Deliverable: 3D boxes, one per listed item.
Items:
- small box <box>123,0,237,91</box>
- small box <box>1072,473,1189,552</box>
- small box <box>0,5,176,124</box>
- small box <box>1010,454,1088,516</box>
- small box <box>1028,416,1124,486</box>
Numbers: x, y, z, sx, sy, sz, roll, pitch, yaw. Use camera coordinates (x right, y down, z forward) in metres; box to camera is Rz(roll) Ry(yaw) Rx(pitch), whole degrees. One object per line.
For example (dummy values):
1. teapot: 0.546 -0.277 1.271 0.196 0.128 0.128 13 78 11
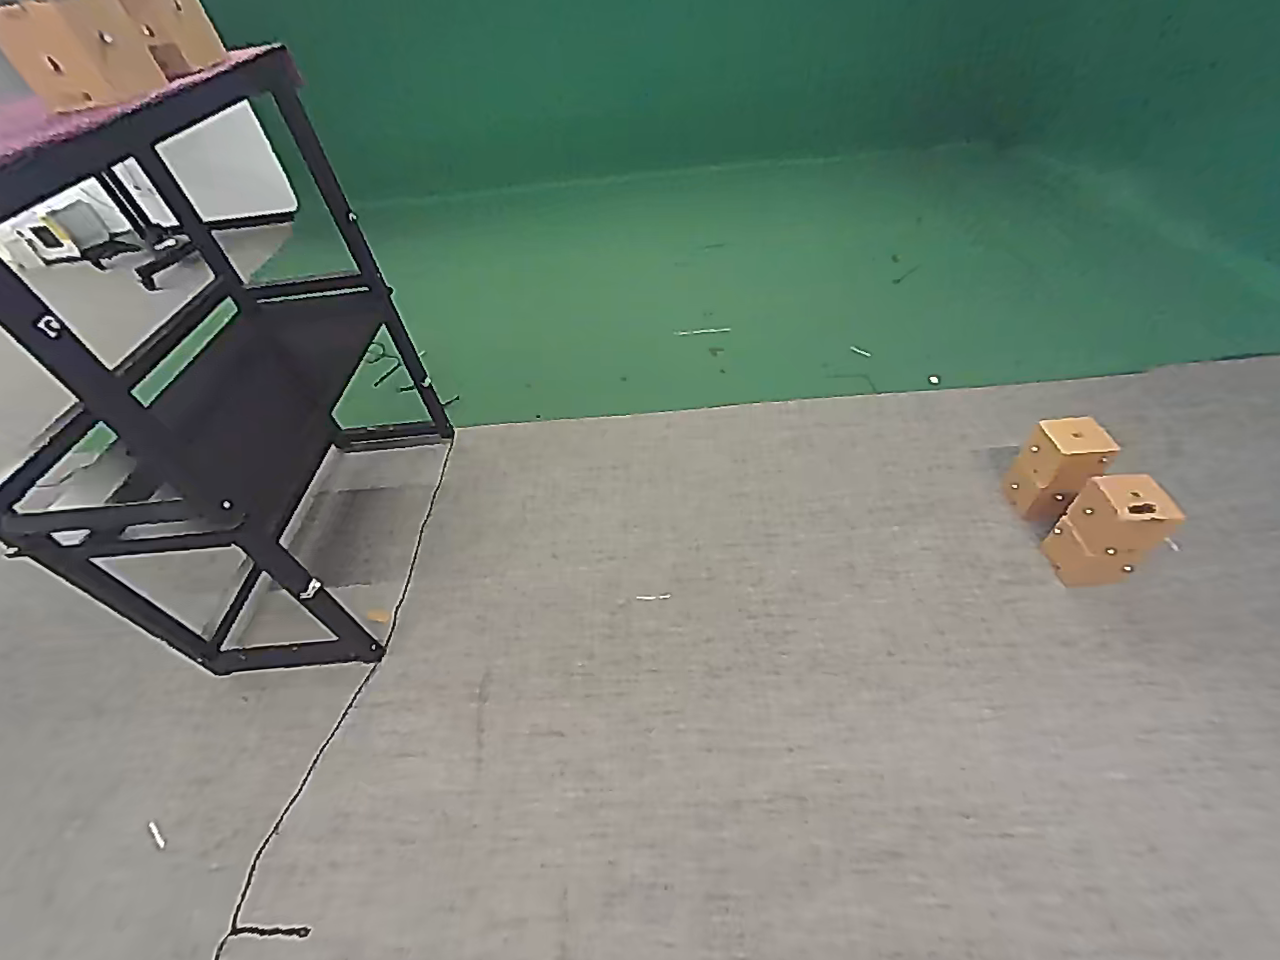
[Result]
1. small box: -1.189 -1.111 1.378 0.168 0.176 0.179 -3 47 7
2. small box: 1.452 0.101 1.614 0.168 0.176 0.179 -2 46 6
3. small box: -1.170 -0.888 1.164 0.168 0.176 0.179 -4 47 6
4. small box: 1.456 0.017 1.921 0.179 0.176 0.168 -3 47 6
5. small box: 1.437 -0.093 1.803 0.179 0.176 0.168 -5 46 4
